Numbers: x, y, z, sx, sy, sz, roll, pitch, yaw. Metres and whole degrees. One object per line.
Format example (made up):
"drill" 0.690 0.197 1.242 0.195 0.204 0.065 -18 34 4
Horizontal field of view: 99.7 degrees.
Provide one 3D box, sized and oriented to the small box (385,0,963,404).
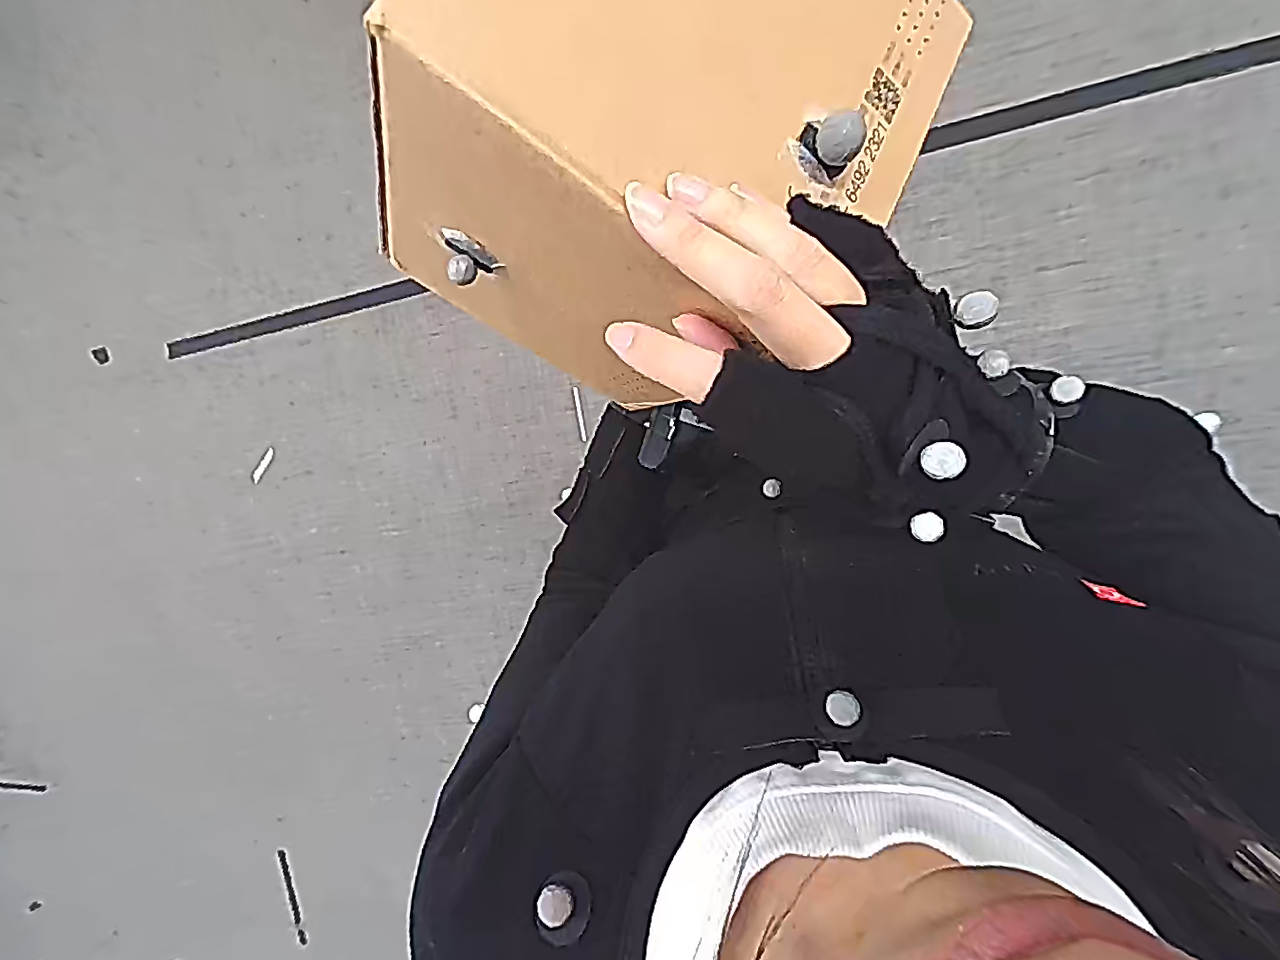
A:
"small box" 0.003 -0.148 0.257 0.176 0.179 0.168 28 81 -23
